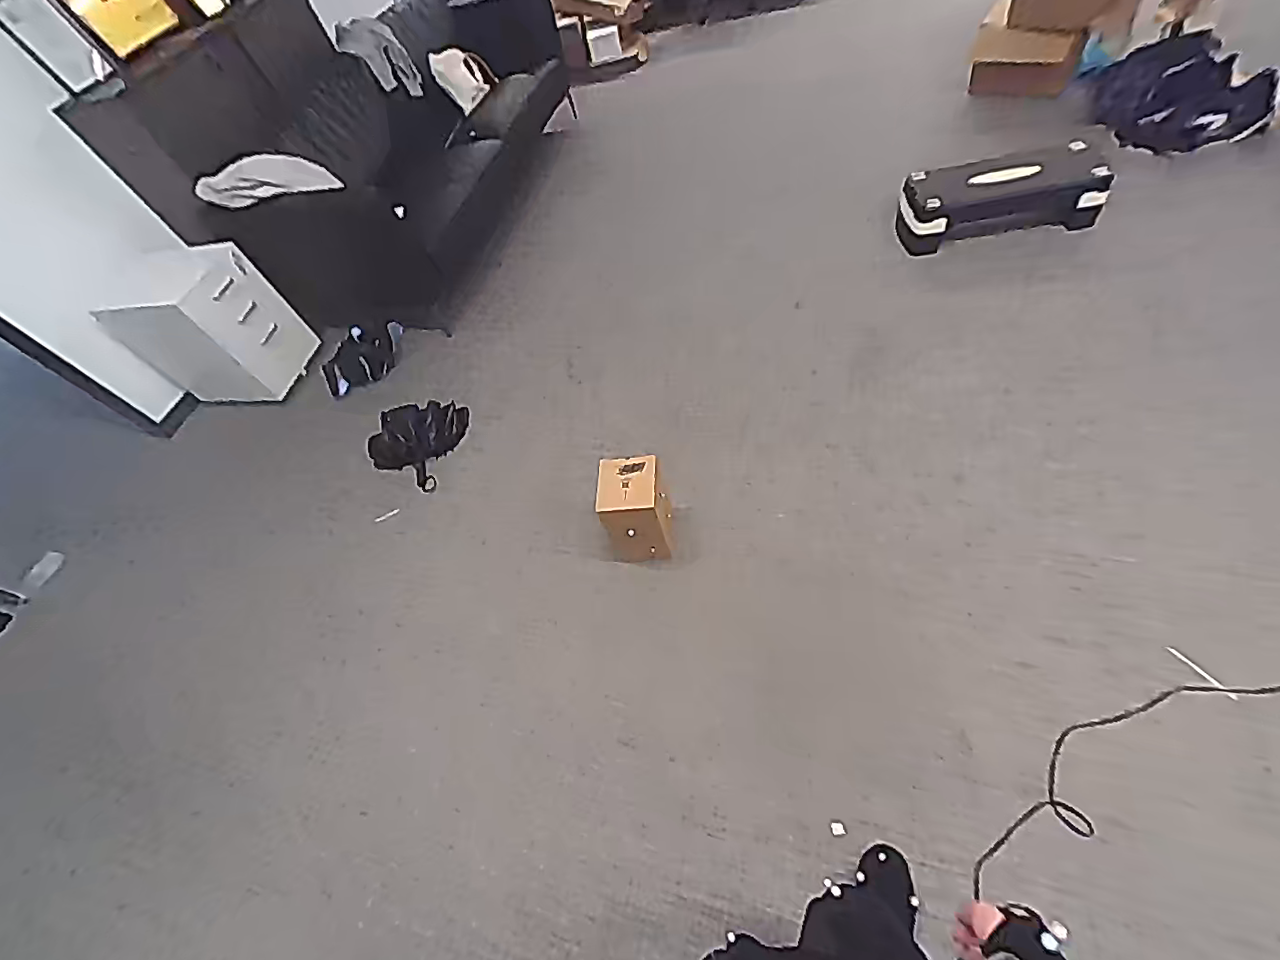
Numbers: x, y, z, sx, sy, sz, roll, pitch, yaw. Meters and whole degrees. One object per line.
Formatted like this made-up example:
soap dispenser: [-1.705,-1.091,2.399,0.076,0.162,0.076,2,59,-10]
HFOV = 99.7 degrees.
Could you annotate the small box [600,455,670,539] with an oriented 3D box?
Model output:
small box: [-0.009,0.052,1.554,0.168,0.176,0.179,-5,57,12]

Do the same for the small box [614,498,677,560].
small box: [0.022,0.140,1.690,0.168,0.176,0.179,-6,54,11]
